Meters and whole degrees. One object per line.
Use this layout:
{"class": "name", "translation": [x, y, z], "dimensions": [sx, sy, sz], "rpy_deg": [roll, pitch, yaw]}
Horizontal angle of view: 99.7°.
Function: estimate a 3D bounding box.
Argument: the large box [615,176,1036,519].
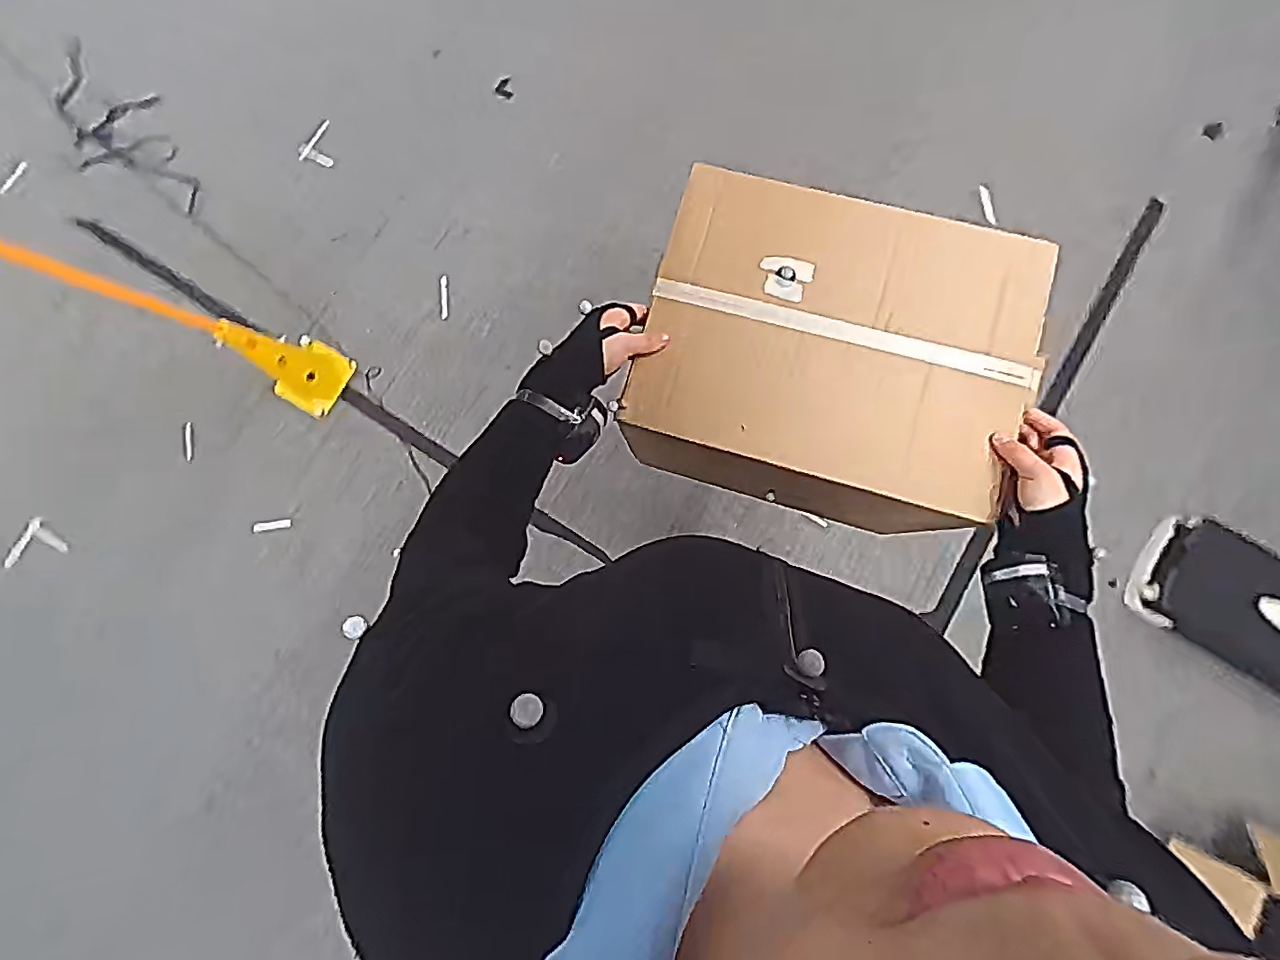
{"class": "large box", "translation": [0.215, -0.145, 0.737], "dimensions": [0.408, 0.320, 0.320], "rpy_deg": [15, 83, 7]}
